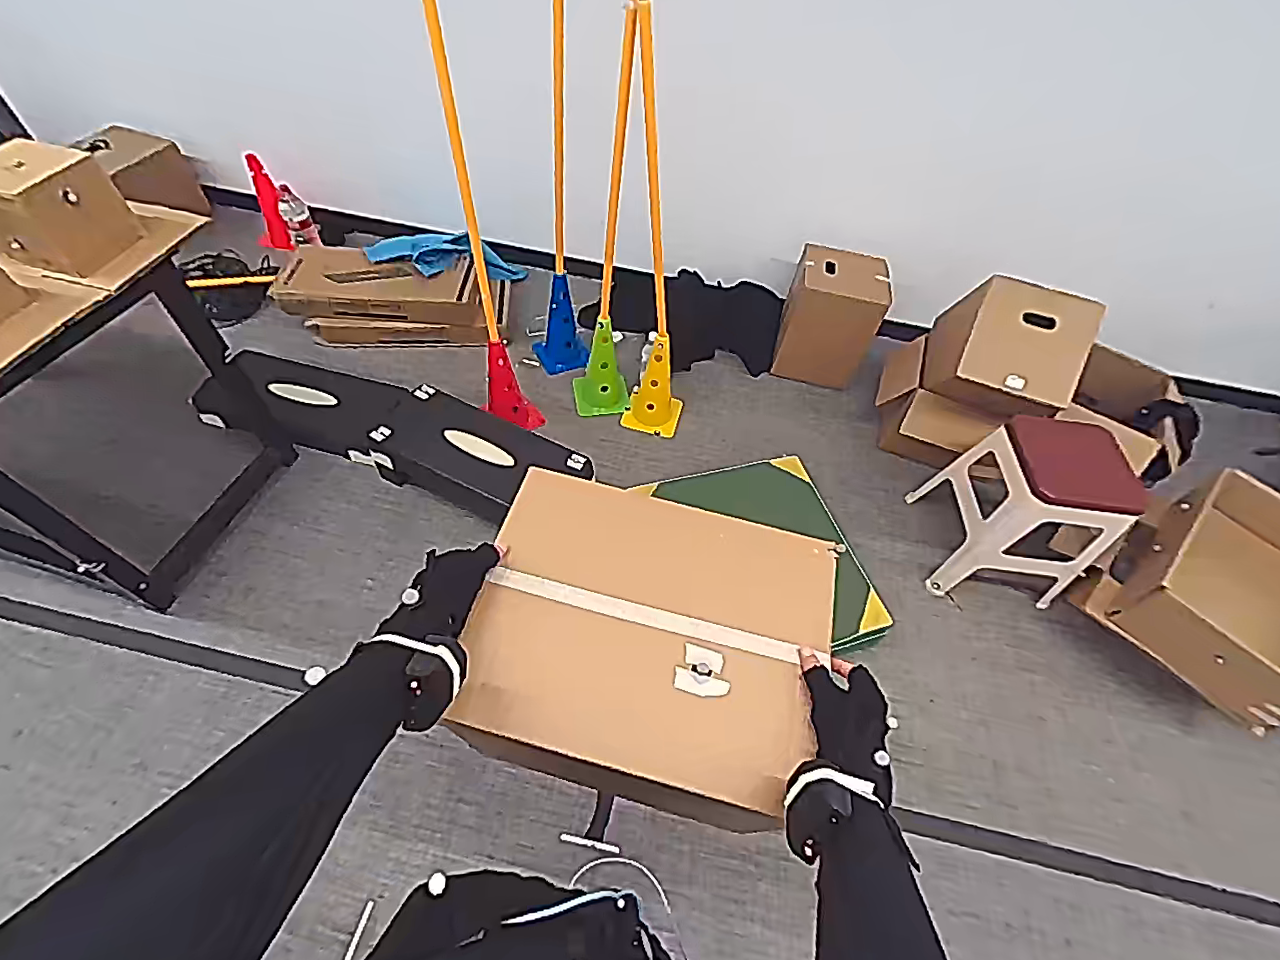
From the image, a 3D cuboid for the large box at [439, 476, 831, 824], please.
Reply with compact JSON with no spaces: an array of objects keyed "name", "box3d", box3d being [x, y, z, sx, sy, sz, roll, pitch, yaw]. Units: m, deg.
[{"name":"large box","box3d":[0.005,0.243,0.747,0.408,0.320,0.320,15,57,4]}]
